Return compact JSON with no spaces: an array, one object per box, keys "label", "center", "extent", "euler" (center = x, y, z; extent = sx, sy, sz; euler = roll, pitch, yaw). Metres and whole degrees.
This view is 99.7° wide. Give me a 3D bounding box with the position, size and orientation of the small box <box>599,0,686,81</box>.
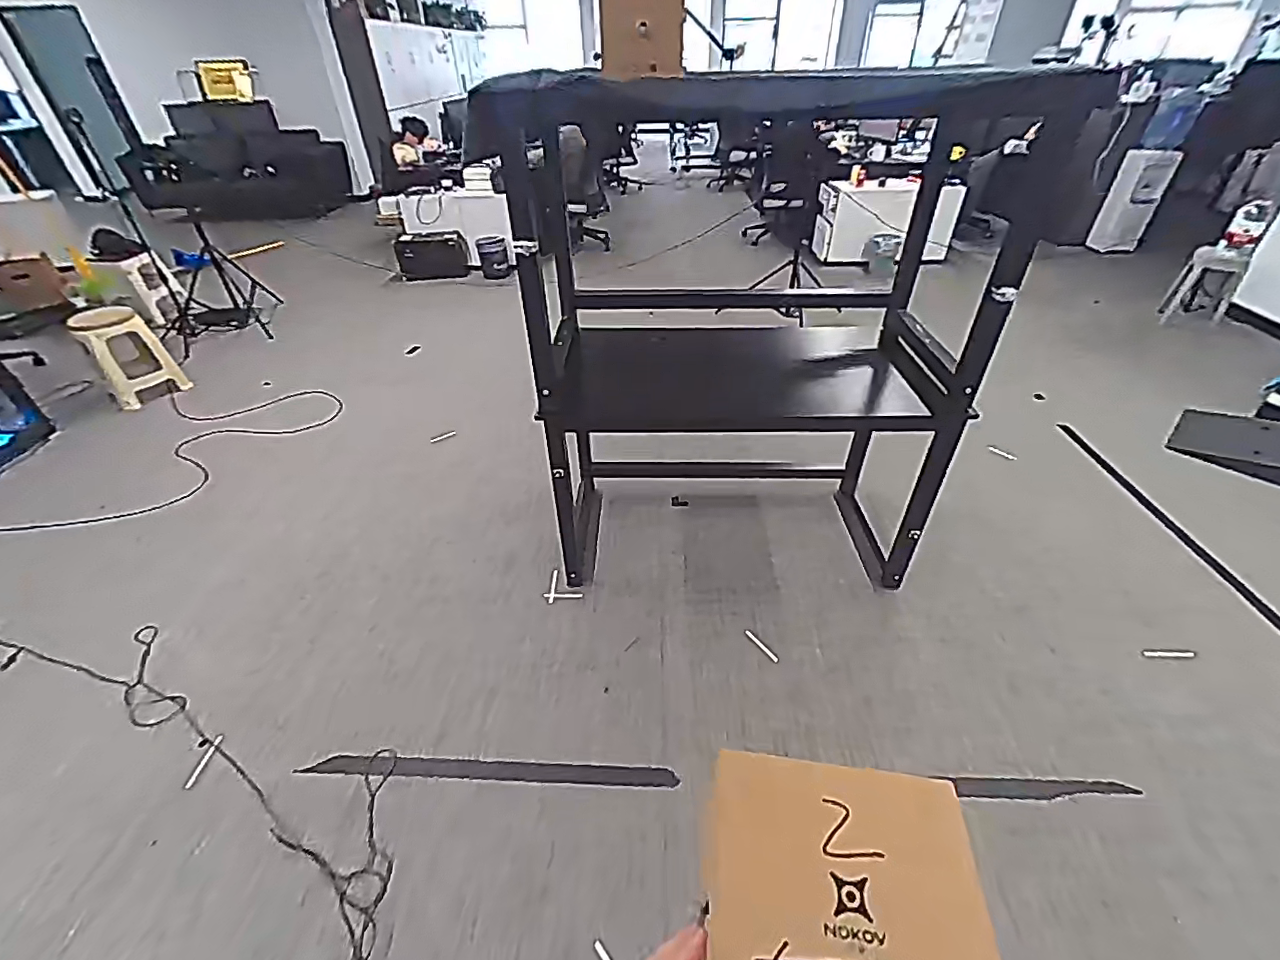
[{"label":"small box","center":[0.003,-0.916,1.094],"extent":[0.168,0.176,0.179],"euler":[-2,37,-2]}]
